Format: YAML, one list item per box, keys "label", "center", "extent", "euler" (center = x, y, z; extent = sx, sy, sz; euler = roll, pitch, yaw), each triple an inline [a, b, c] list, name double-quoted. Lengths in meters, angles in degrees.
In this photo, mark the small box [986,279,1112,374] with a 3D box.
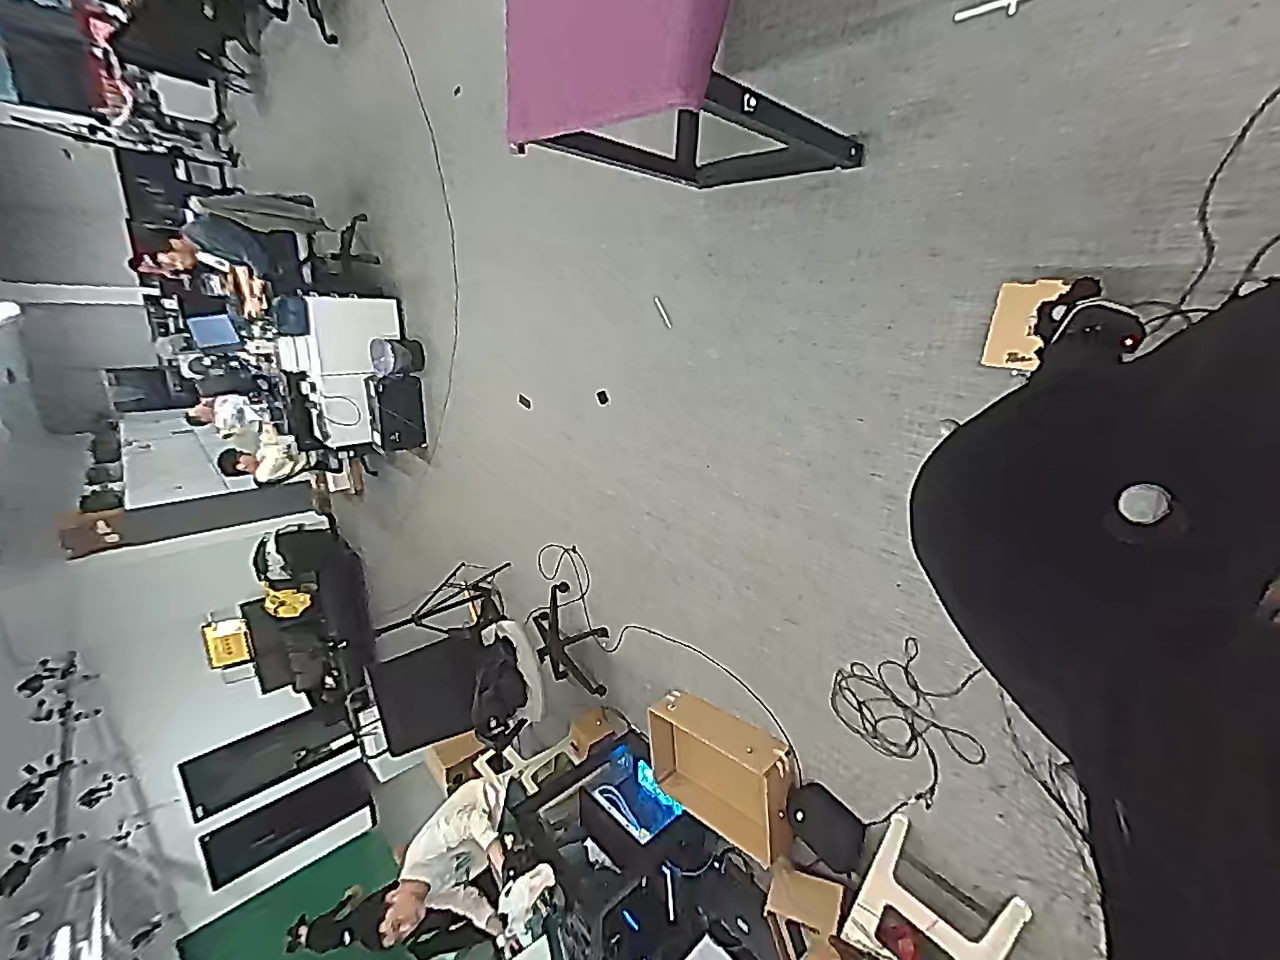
- label: "small box"
  center: [0.873, -0.326, 1.152]
  extent: [0.168, 0.176, 0.179]
  euler: [22, 114, 43]
